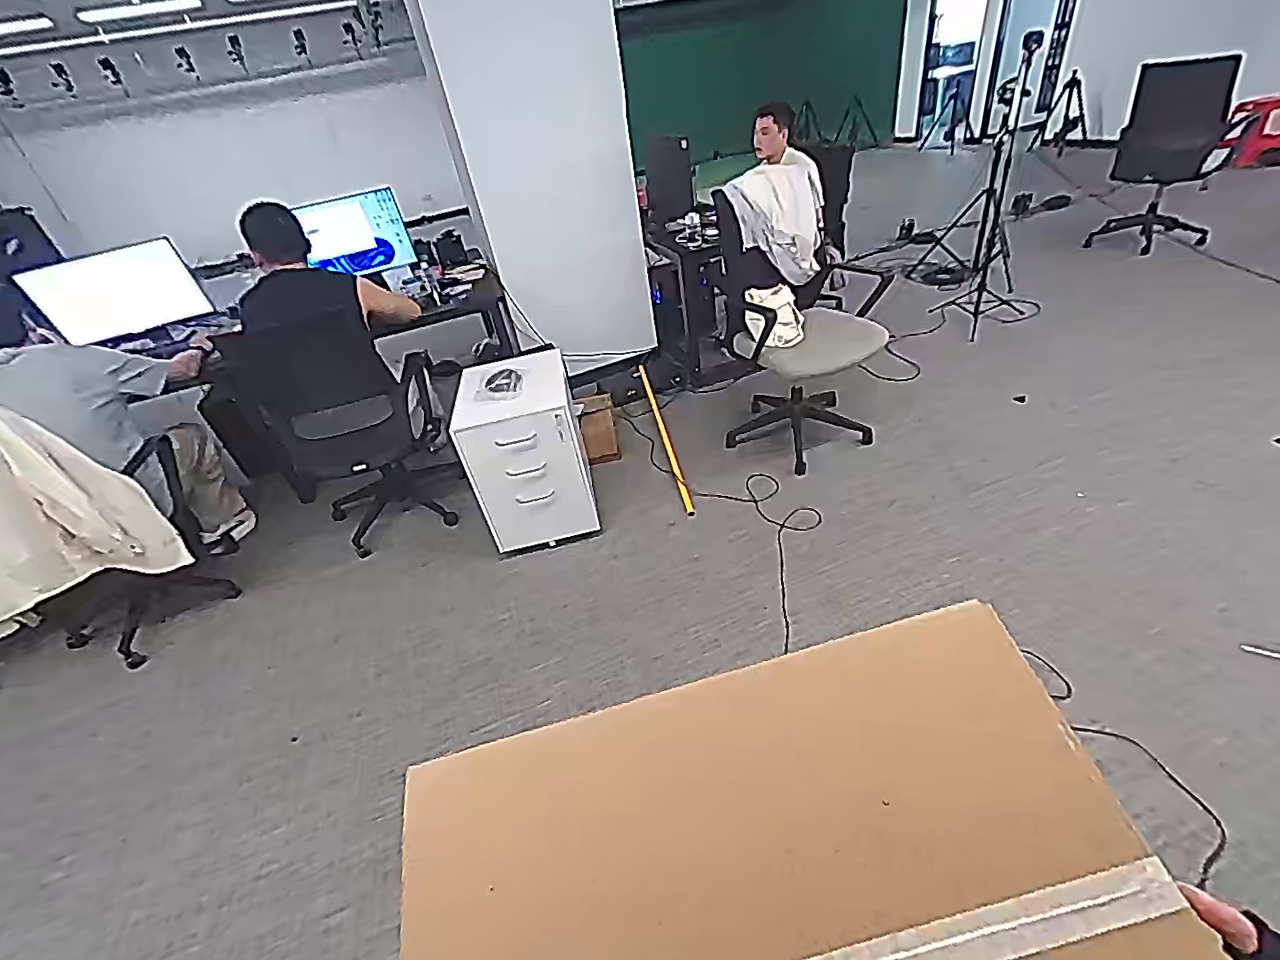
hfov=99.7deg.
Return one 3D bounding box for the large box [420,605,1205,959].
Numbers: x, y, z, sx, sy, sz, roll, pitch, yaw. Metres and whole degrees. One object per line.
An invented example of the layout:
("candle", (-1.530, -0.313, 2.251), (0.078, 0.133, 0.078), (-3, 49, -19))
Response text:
("large box", (0.103, 0.342, 0.402), (0.408, 0.320, 0.320), (-17, 53, 1))
